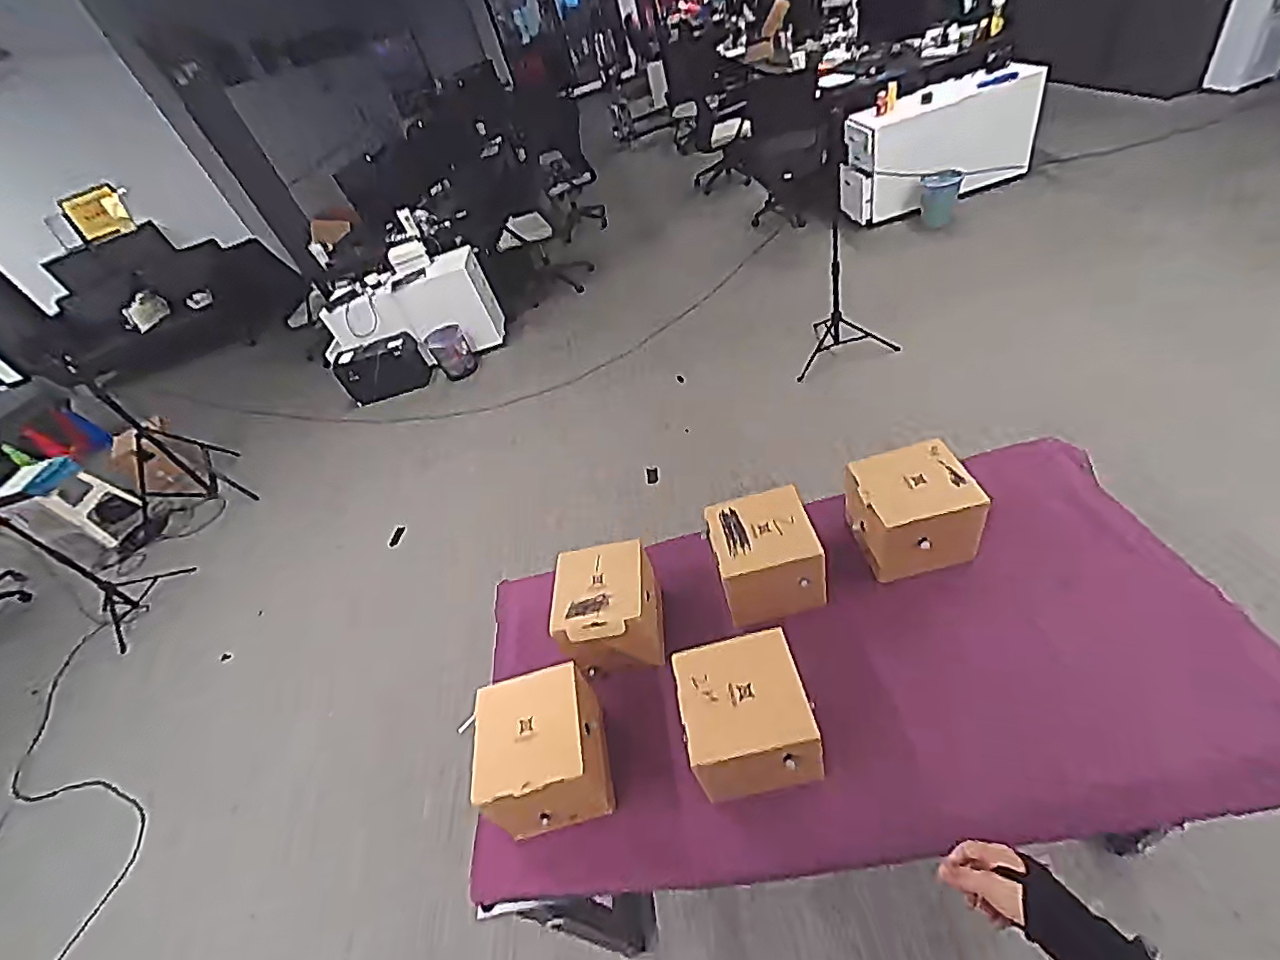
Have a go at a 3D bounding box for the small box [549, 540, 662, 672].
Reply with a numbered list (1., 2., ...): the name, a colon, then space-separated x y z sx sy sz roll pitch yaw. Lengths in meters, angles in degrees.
1. small box: -0.058 0.242 1.011 0.168 0.176 0.179 -11 43 9

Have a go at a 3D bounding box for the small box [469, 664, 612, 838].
1. small box: -0.152 0.427 0.852 0.168 0.176 0.179 -17 42 1

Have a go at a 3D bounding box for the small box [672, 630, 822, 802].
1. small box: 0.159 0.355 0.807 0.179 0.176 0.168 -16 42 5

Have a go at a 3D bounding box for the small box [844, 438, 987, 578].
1. small box: 0.491 0.056 0.987 0.179 0.176 0.168 -16 44 6
